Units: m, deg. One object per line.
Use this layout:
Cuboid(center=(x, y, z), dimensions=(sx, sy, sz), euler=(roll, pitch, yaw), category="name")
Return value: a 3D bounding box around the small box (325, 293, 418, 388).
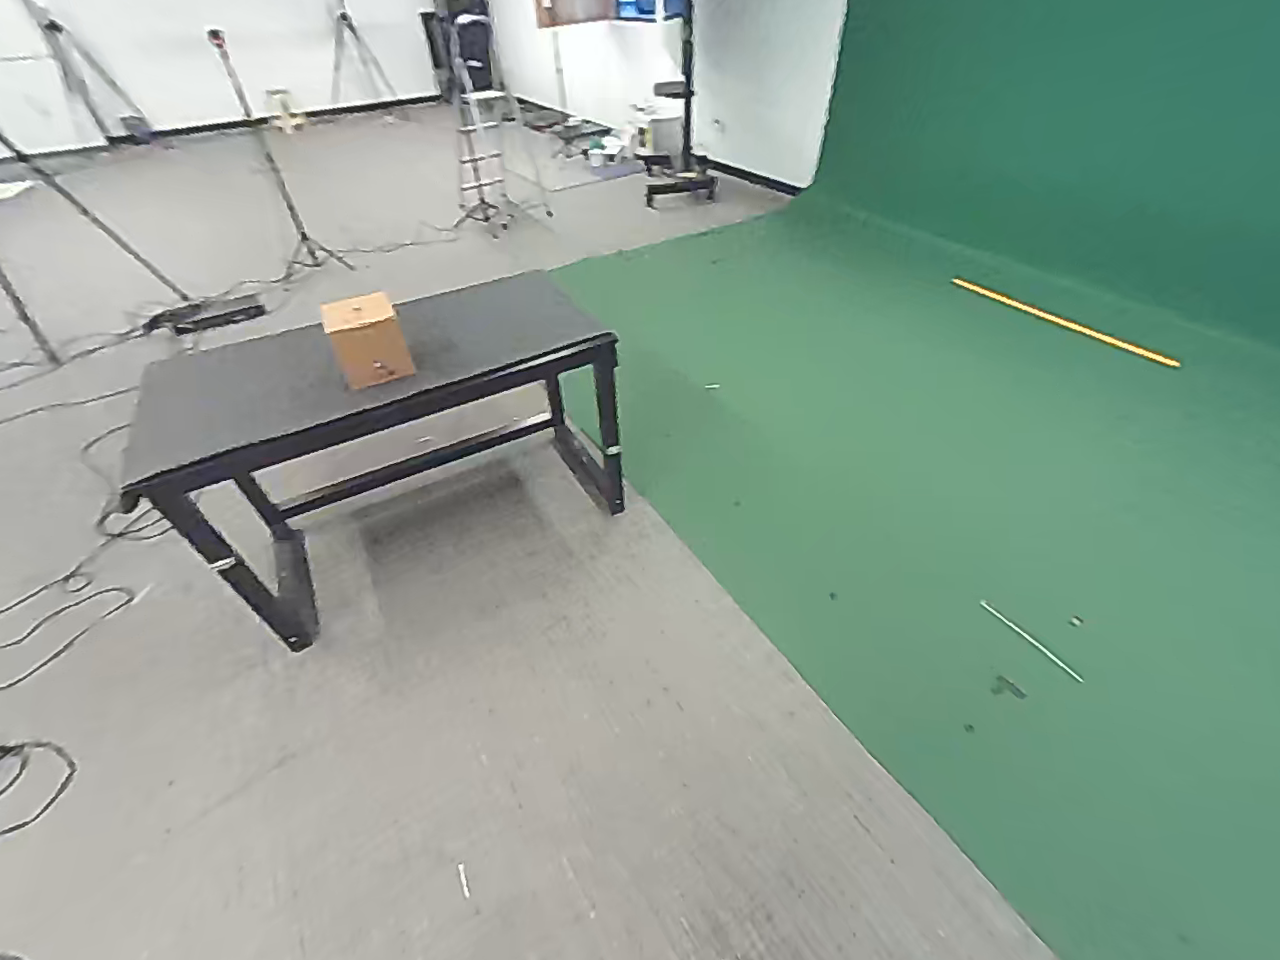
Cuboid(center=(-0.711, -0.370, 1.436), dimensions=(0.168, 0.176, 0.179), euler=(-22, 46, -19), category="small box")
